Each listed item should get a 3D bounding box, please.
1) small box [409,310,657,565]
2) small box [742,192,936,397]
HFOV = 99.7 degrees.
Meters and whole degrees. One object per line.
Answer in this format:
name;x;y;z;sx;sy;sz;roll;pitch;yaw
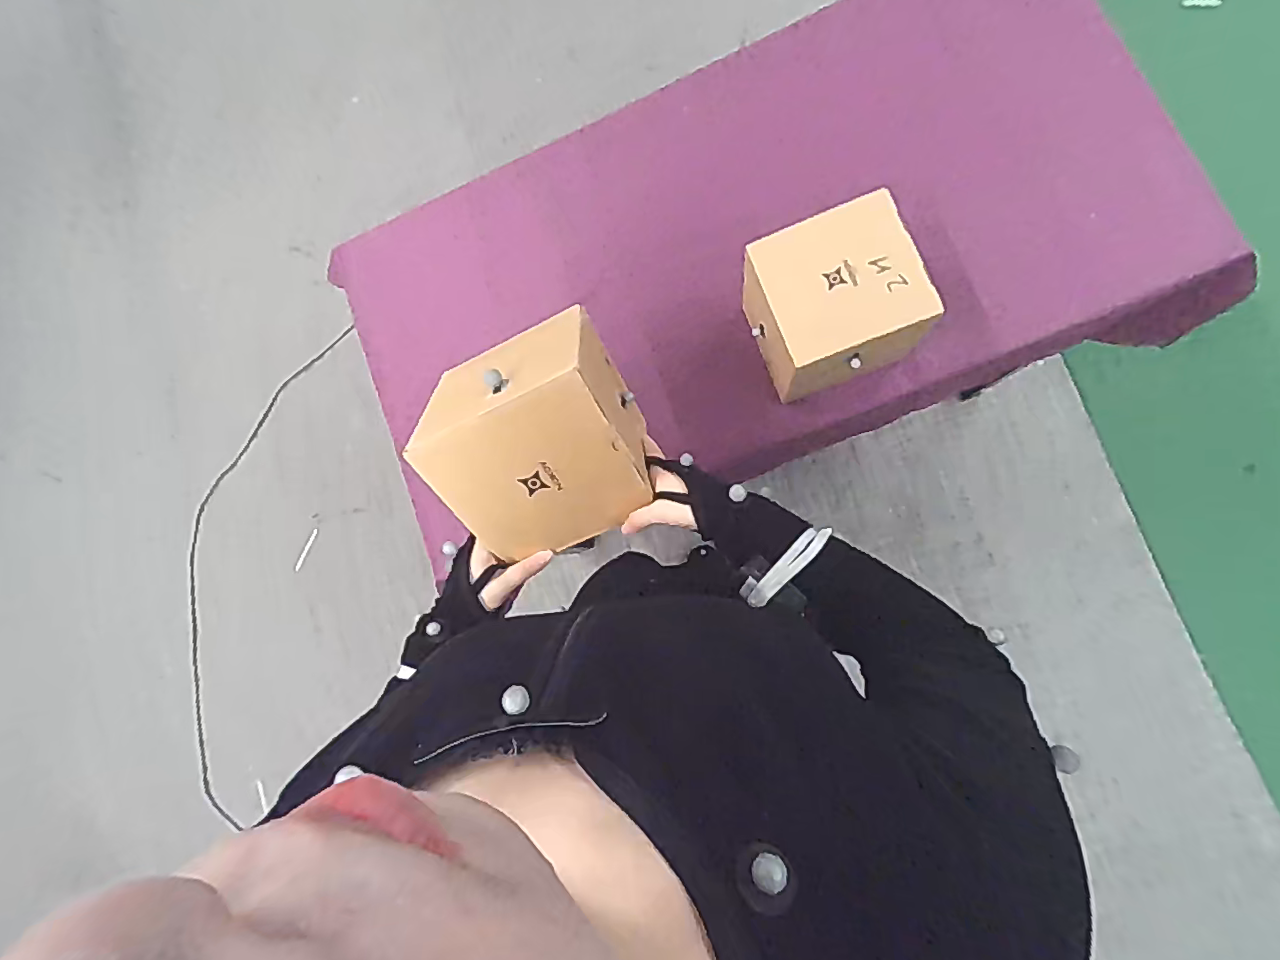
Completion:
small box;-0.098;-0.048;0.563;0.179;0.176;0.168;-23;124;10
small box;0.242;-0.225;0.707;0.179;0.176;0.168;-20;82;6
